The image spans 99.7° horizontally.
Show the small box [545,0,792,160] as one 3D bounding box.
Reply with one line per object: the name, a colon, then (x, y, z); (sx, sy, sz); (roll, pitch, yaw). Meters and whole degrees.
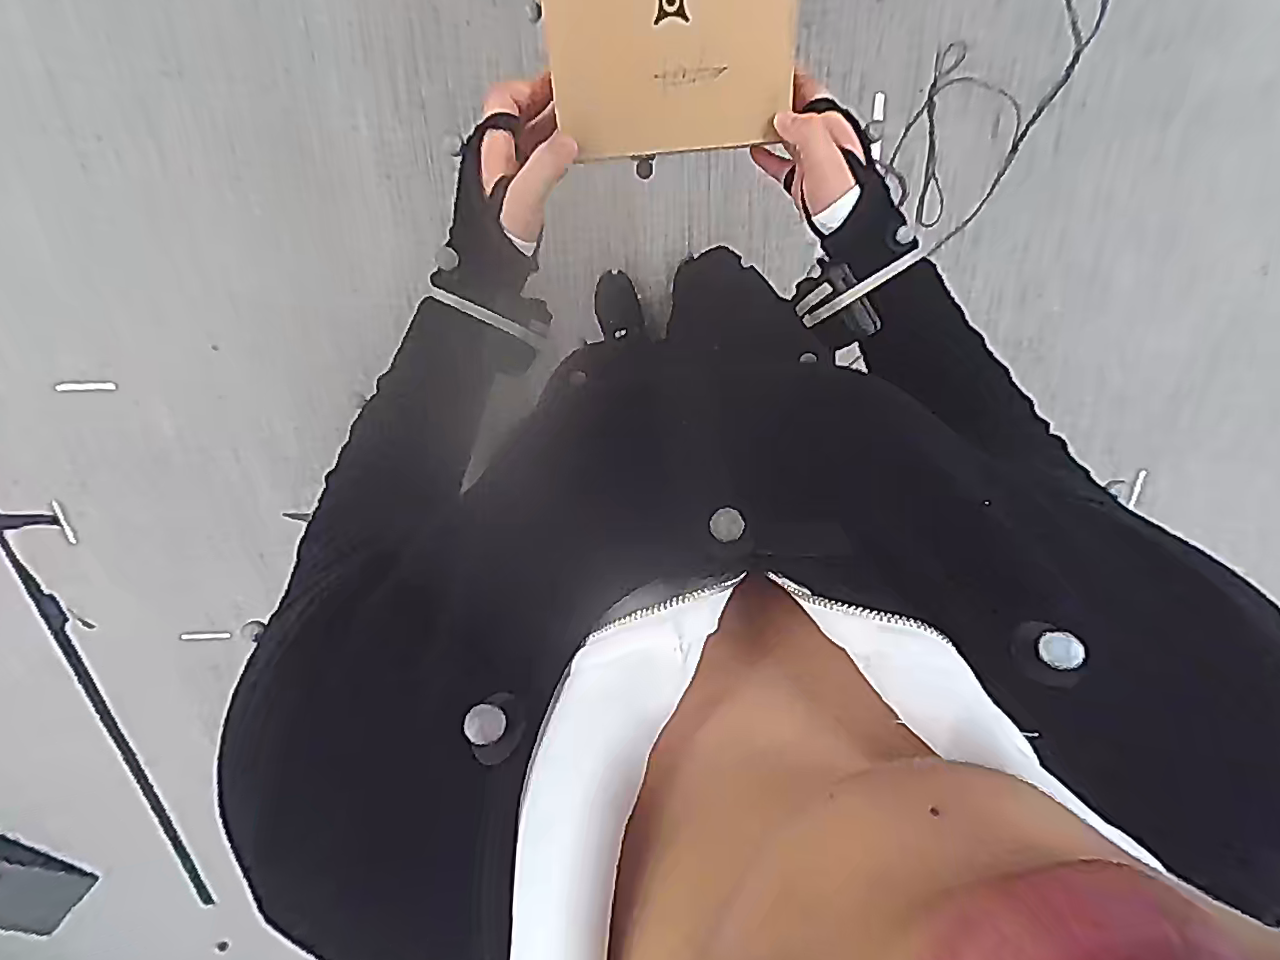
small box: (0.012, -0.357, 0.418); (0.168, 0.176, 0.179); (-6, 121, -2)
